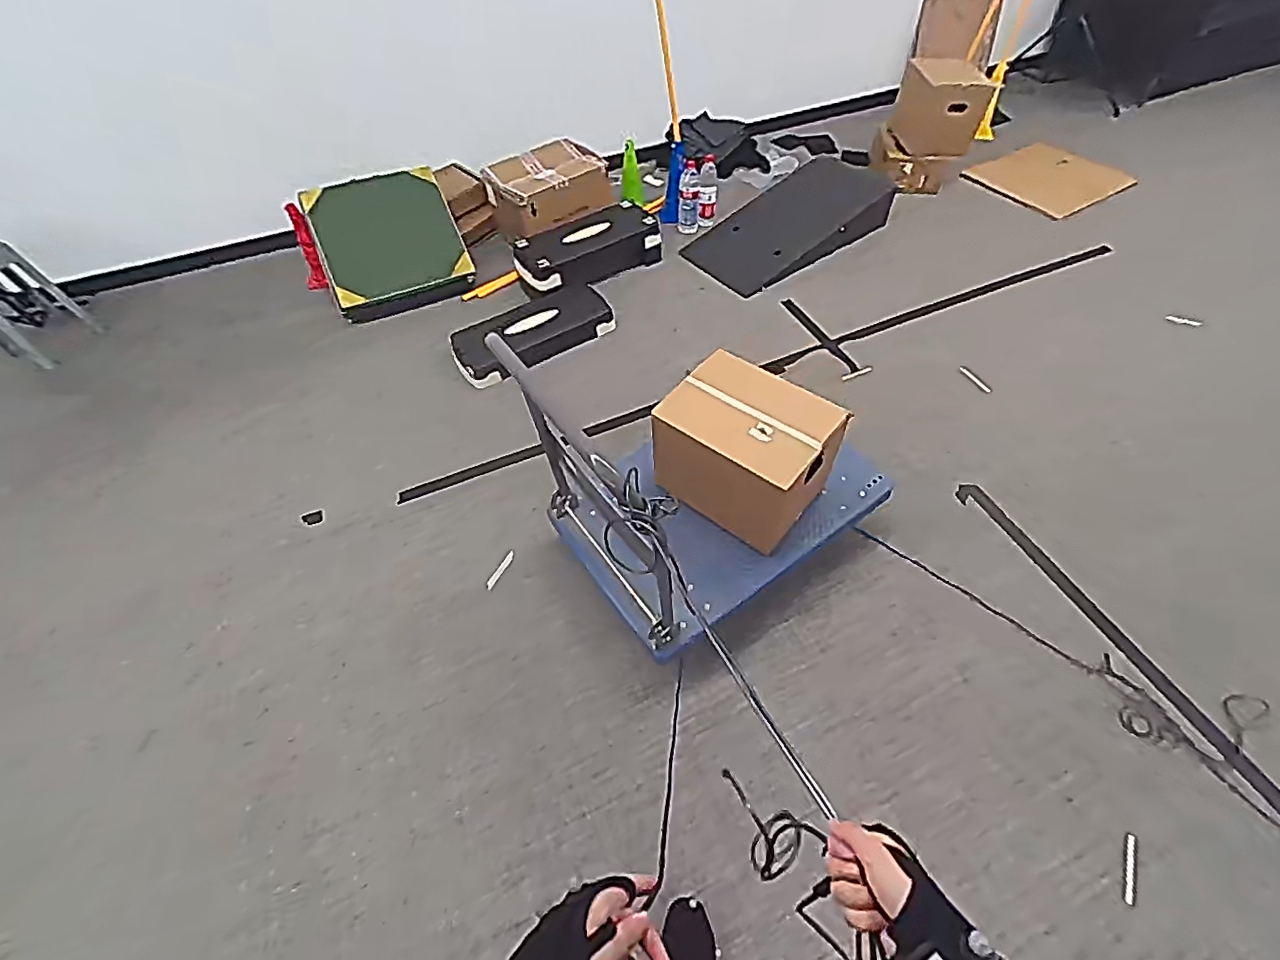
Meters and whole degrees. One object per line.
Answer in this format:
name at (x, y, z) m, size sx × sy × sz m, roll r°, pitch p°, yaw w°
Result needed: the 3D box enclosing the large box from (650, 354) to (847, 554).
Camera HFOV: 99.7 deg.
large box at (0.275, -0.075, 1.483) m, size 0.408 × 0.320 × 0.320 m, roll 33°, pitch 62°, yaw 24°
